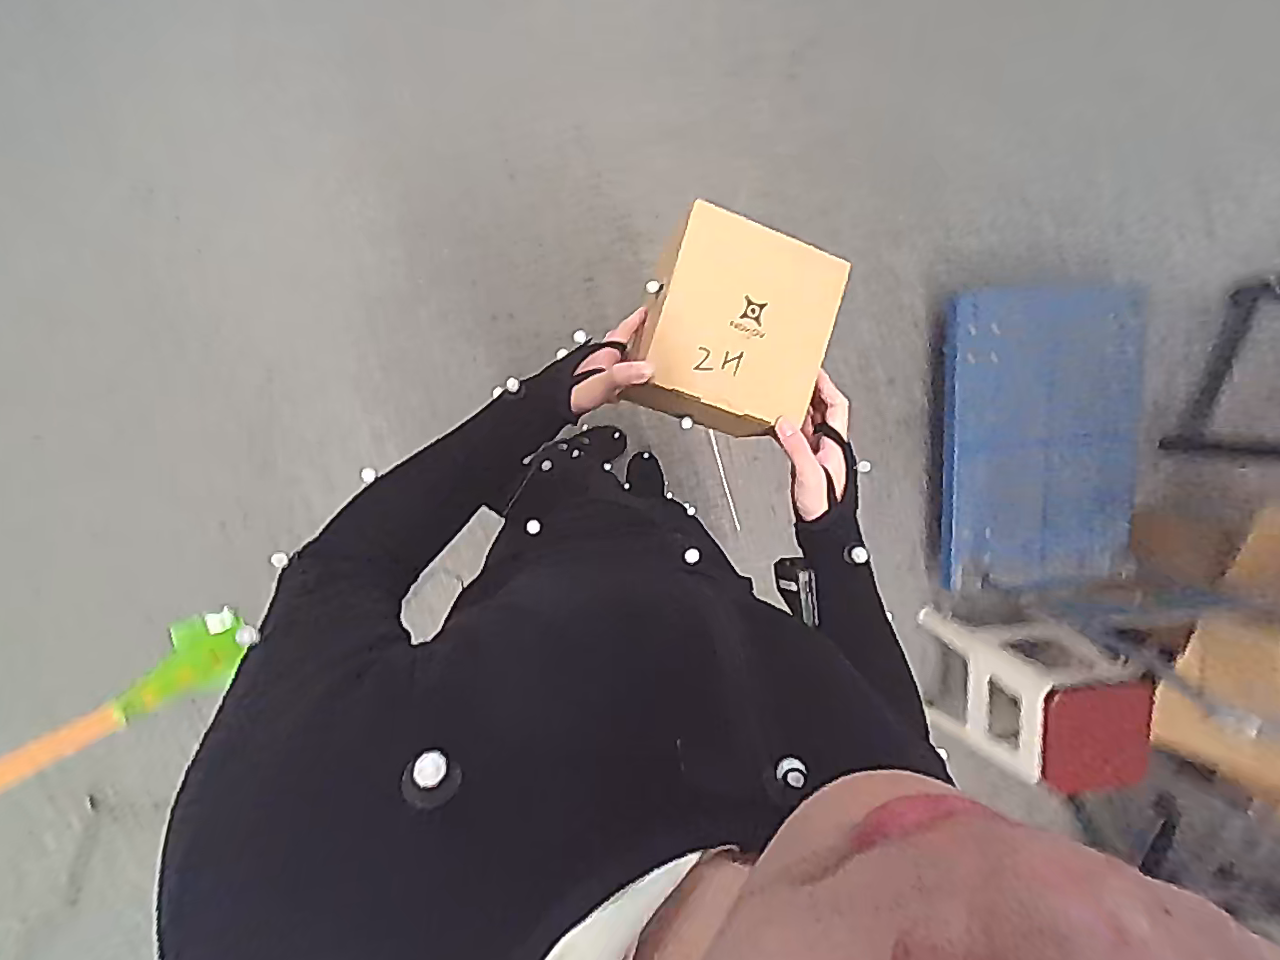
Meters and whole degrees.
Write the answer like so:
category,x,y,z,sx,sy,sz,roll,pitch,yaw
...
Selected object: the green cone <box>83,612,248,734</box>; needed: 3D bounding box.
category,x,y,z,sx,sy,sz,roll,pitch,yaw
green cone,-1.215,0.504,1.349,0.200,0.368,0.202,-15,99,-3
